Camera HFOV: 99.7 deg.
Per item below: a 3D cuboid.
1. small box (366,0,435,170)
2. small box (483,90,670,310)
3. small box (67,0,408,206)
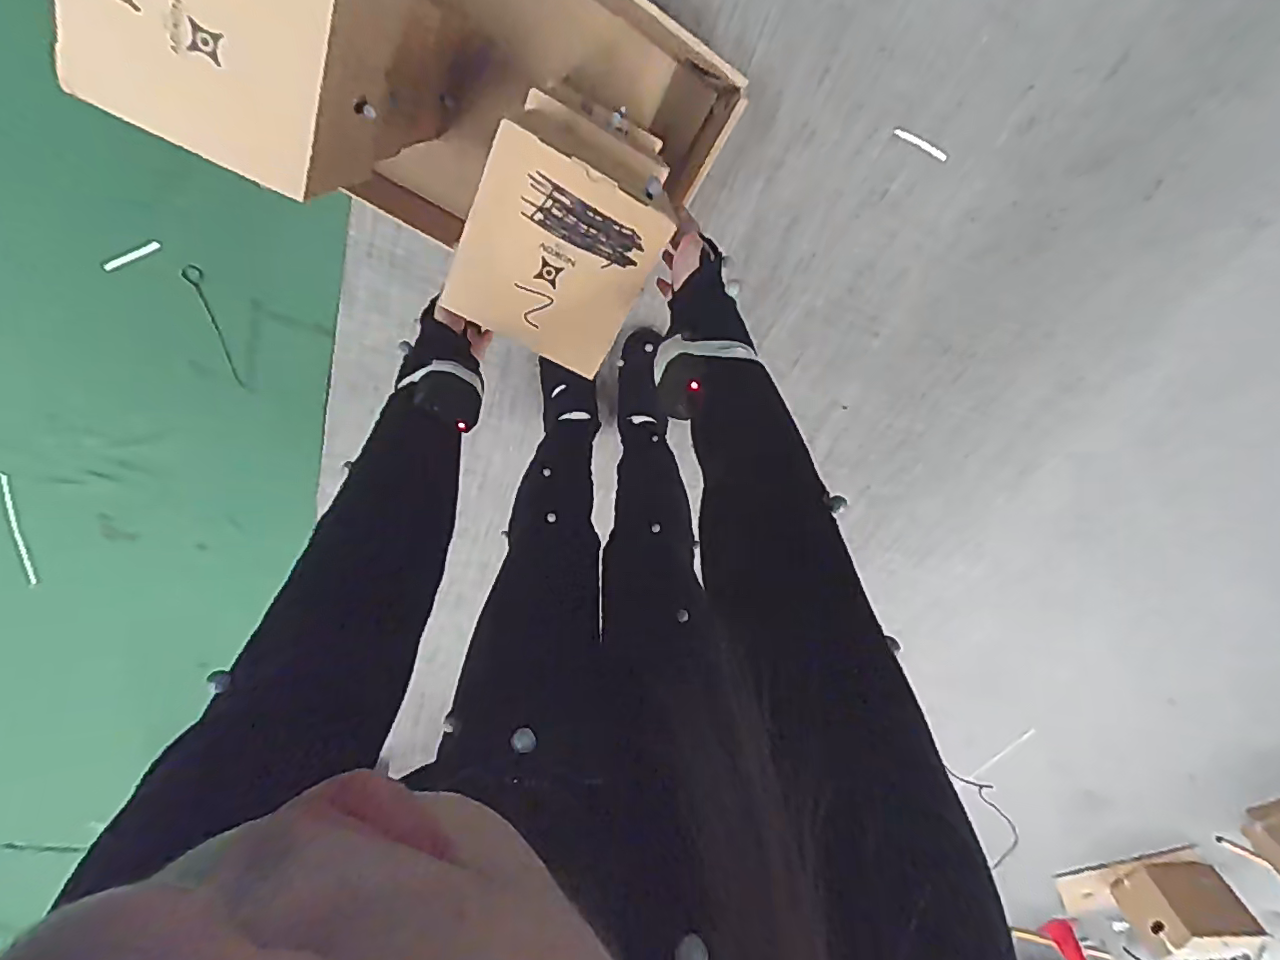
[{"bbox_3d":[-0.341,-0.477,0.589,0.168,0.176,0.179,24,122,-19],"label":"small box"},{"bbox_3d":[-0.077,-0.353,0.686,0.168,0.176,0.179,23,120,-17],"label":"small box"},{"bbox_3d":[-0.323,-0.372,0.463,0.179,0.176,0.168,23,121,-19],"label":"small box"}]
